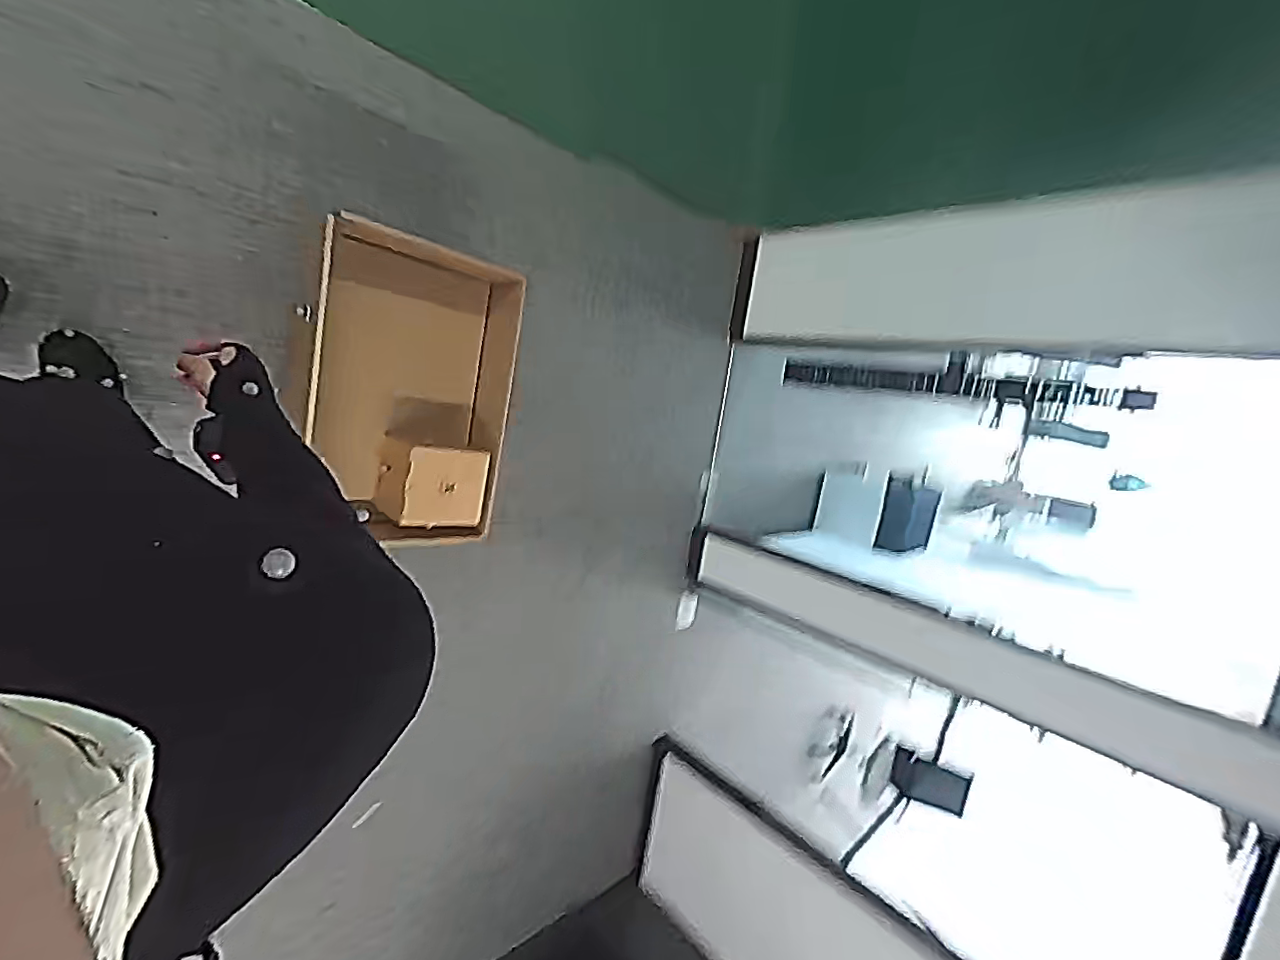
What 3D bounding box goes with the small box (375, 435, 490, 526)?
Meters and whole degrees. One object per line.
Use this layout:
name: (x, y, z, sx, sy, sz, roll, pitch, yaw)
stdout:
small box: (-0.464, 0.000, 1.206, 0.179, 0.176, 0.168, 5, 100, -45)
